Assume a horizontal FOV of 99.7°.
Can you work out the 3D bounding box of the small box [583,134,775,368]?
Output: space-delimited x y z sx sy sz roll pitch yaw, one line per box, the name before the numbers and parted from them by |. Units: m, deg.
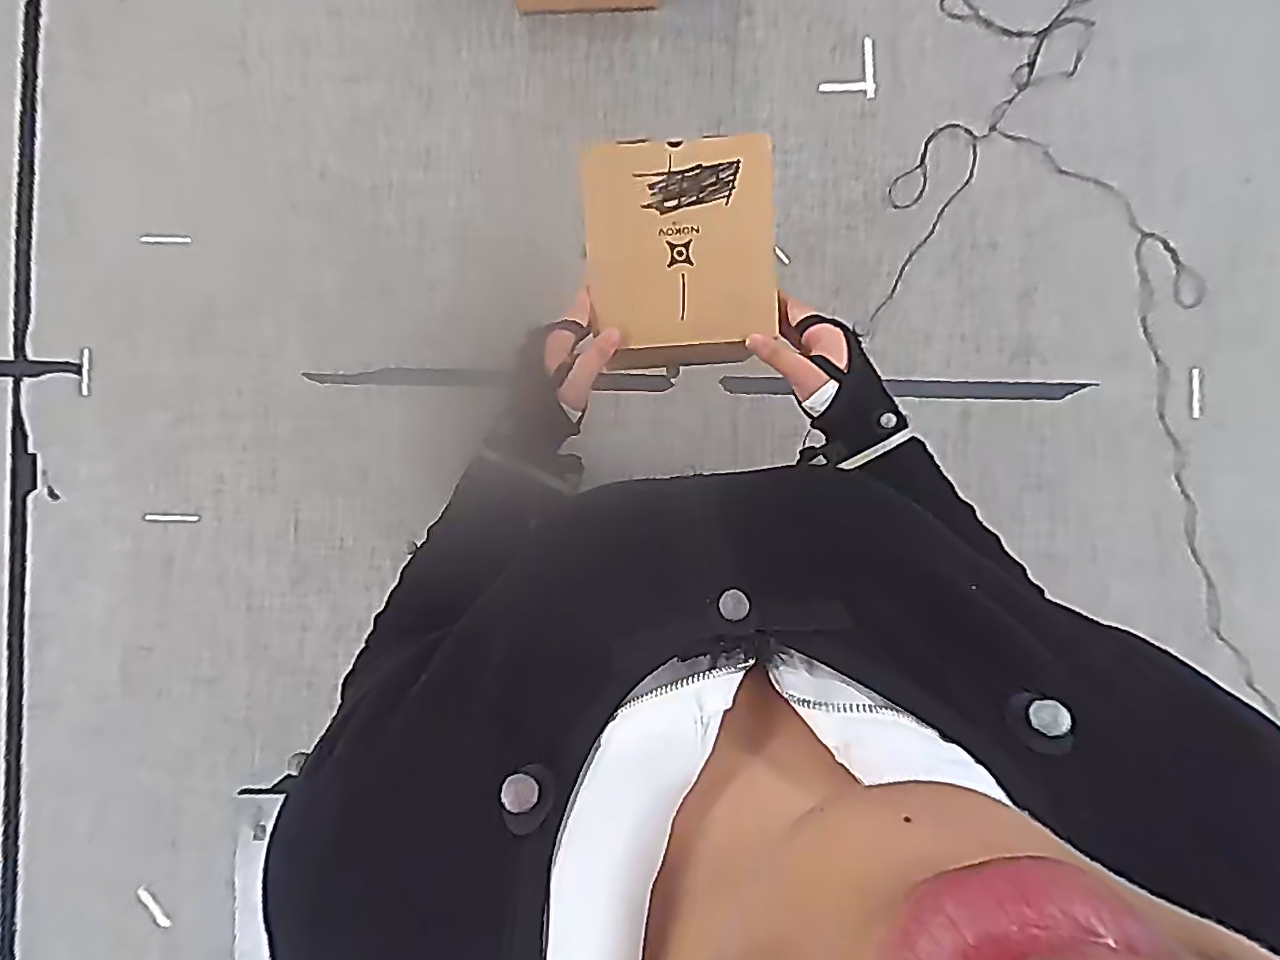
small box | 0.034 -0.216 0.552 0.168 0.176 0.179 -4 96 0
